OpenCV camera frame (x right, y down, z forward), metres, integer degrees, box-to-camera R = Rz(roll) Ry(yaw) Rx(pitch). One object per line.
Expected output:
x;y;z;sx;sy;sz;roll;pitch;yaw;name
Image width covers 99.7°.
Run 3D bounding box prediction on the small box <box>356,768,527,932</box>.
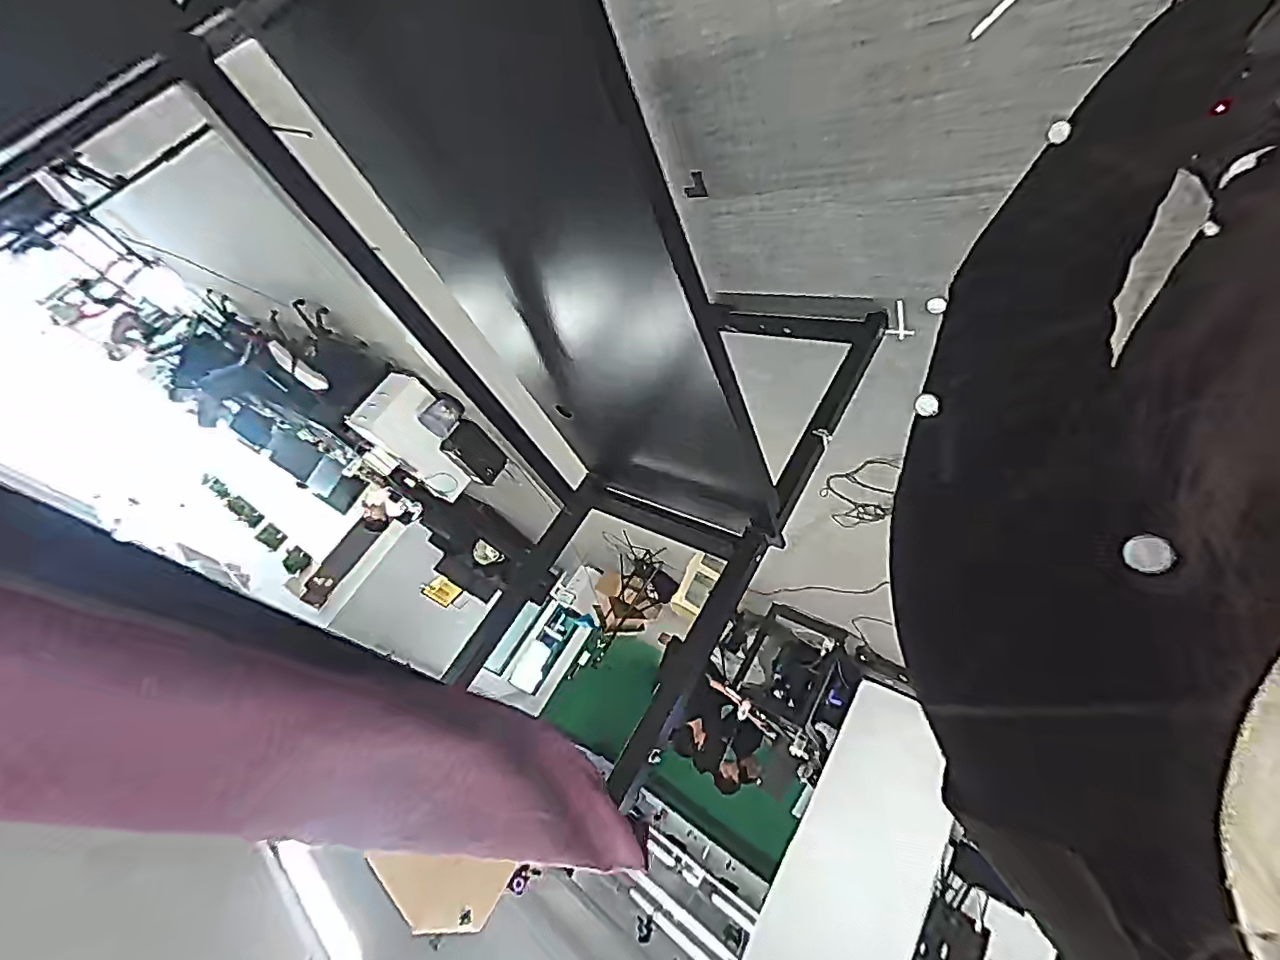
-0.328;0.614;0.916;0.179;0.176;0.168;19;156;38;small box
